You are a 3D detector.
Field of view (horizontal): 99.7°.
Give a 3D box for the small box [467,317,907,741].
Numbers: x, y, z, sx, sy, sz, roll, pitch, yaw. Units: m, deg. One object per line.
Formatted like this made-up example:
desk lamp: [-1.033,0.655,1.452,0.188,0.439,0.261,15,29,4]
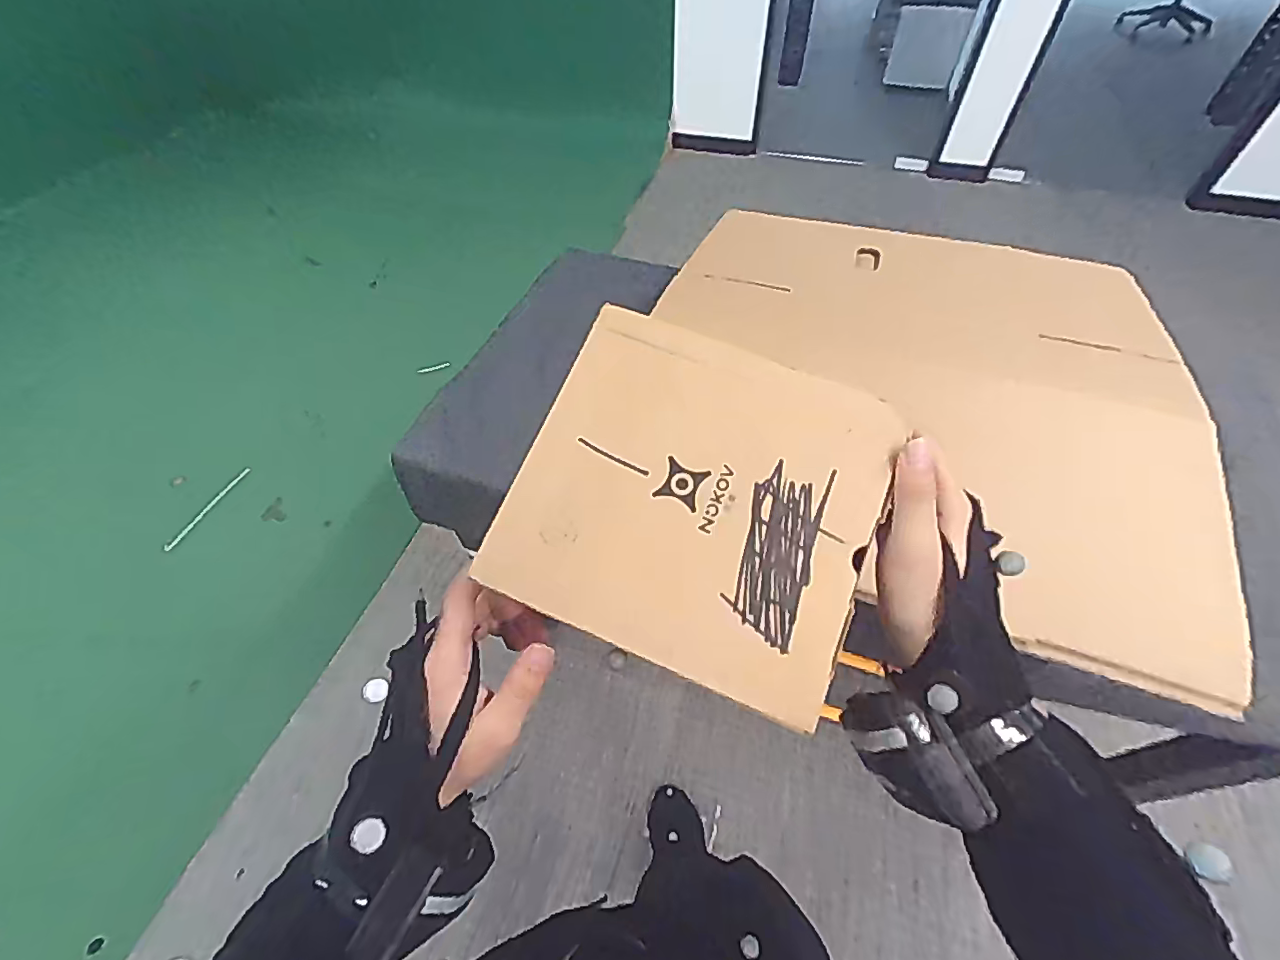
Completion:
small box: [0.029,0.034,0.347,0.179,0.176,0.168,23,76,9]
